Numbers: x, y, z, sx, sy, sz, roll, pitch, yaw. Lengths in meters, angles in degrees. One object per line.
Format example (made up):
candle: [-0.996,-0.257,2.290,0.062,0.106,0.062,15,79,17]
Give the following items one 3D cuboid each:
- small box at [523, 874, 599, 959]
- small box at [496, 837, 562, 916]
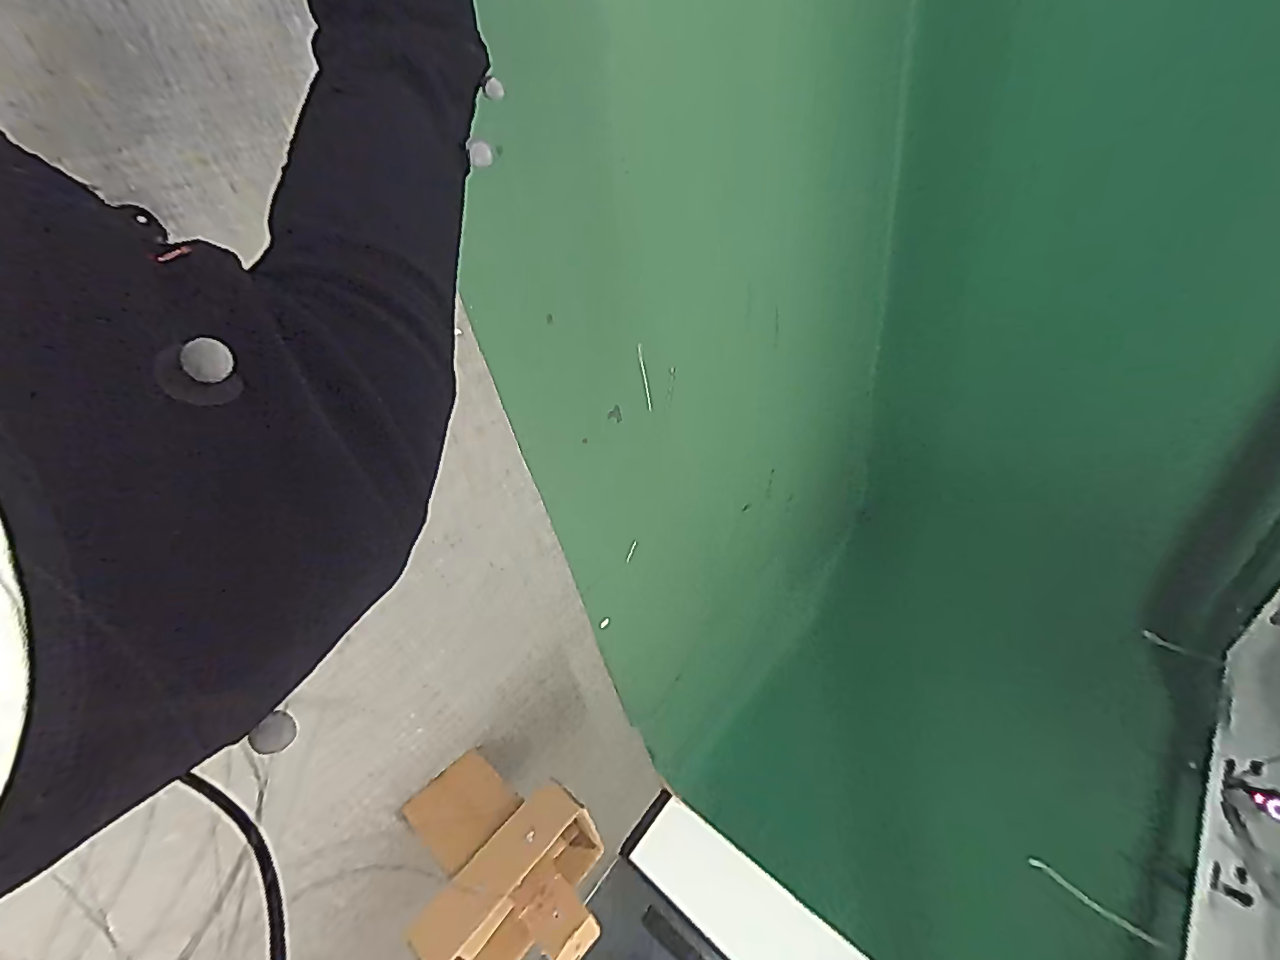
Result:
small box: [-0.266,1.469,1.805,0.168,0.176,0.179,-35,132,-32]
small box: [-0.383,1.405,1.901,0.168,0.176,0.179,-34,134,-32]
